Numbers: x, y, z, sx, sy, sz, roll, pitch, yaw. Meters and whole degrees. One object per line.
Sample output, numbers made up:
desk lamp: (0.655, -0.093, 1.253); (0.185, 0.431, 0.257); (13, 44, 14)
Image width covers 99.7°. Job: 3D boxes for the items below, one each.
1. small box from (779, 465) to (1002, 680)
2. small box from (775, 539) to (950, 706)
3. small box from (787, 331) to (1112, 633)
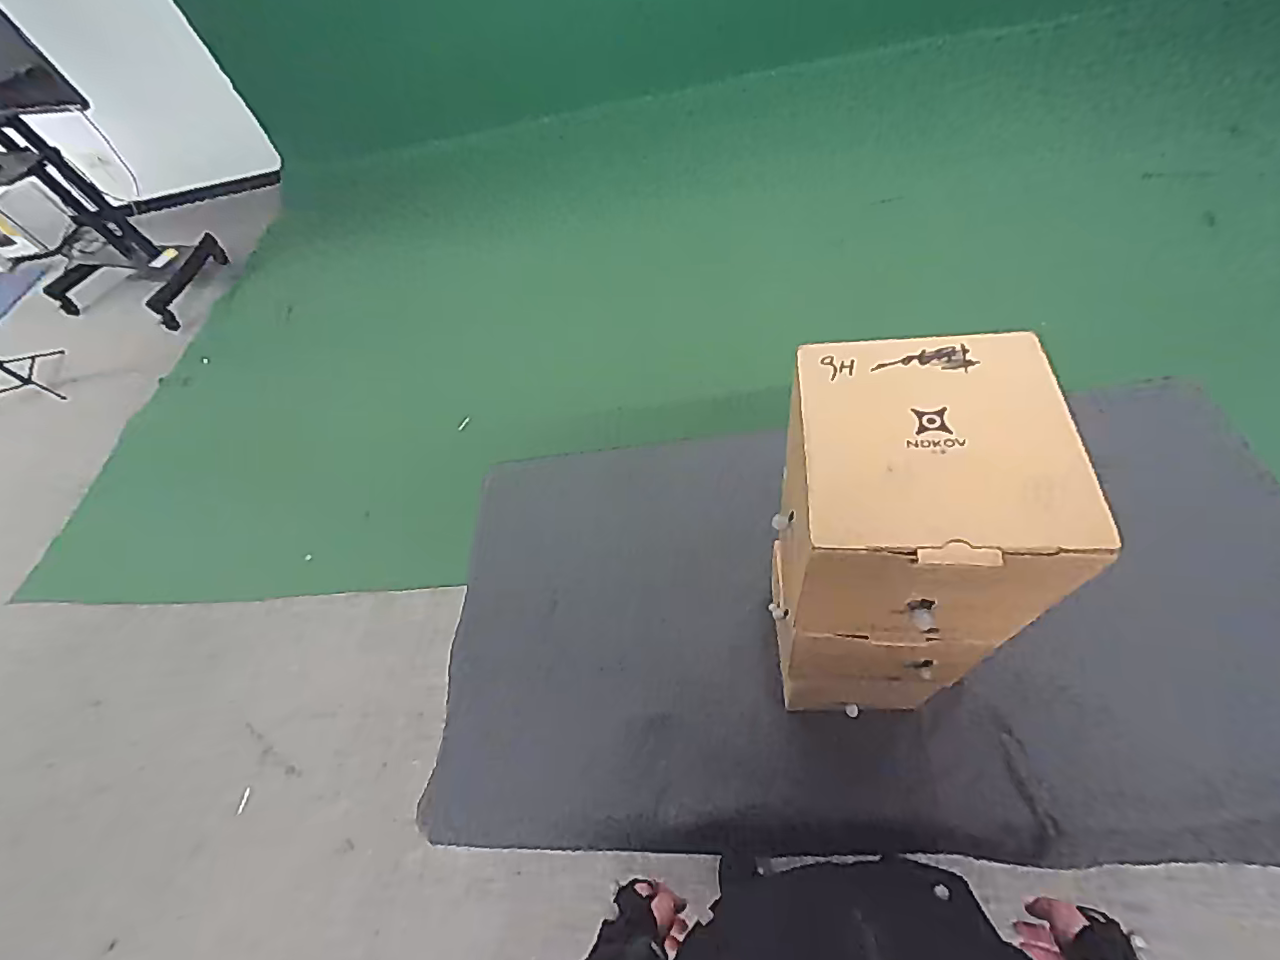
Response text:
small box: (0.233, 0.098, 0.556); (0.168, 0.176, 0.179); (-2, 57, 11)
small box: (0.265, 0.181, 0.692); (0.168, 0.176, 0.179); (-5, 58, 10)
small box: (0.204, 0.012, 0.421); (0.168, 0.176, 0.179); (0, 59, 12)
